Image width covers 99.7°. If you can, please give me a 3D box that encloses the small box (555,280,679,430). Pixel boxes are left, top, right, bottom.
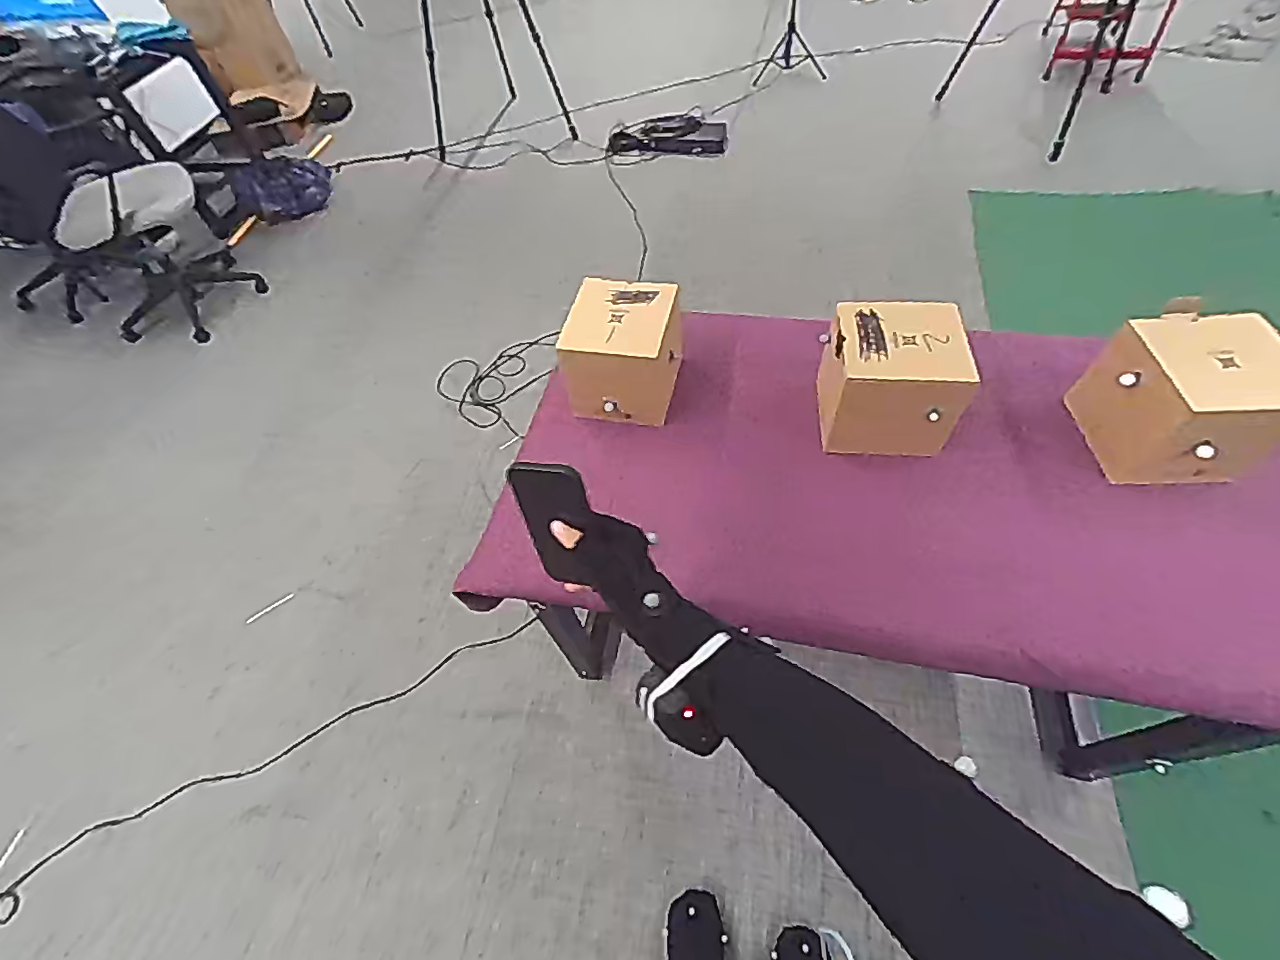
[{"bbox_3d":[-0.029,-0.213,0.928,0.168,0.176,0.179,8,58,12],"label":"small box"}]

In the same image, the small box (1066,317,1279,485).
[{"bbox_3d":[0.762,-0.104,0.766,0.168,0.176,0.179,-2,55,6],"label":"small box"}]
